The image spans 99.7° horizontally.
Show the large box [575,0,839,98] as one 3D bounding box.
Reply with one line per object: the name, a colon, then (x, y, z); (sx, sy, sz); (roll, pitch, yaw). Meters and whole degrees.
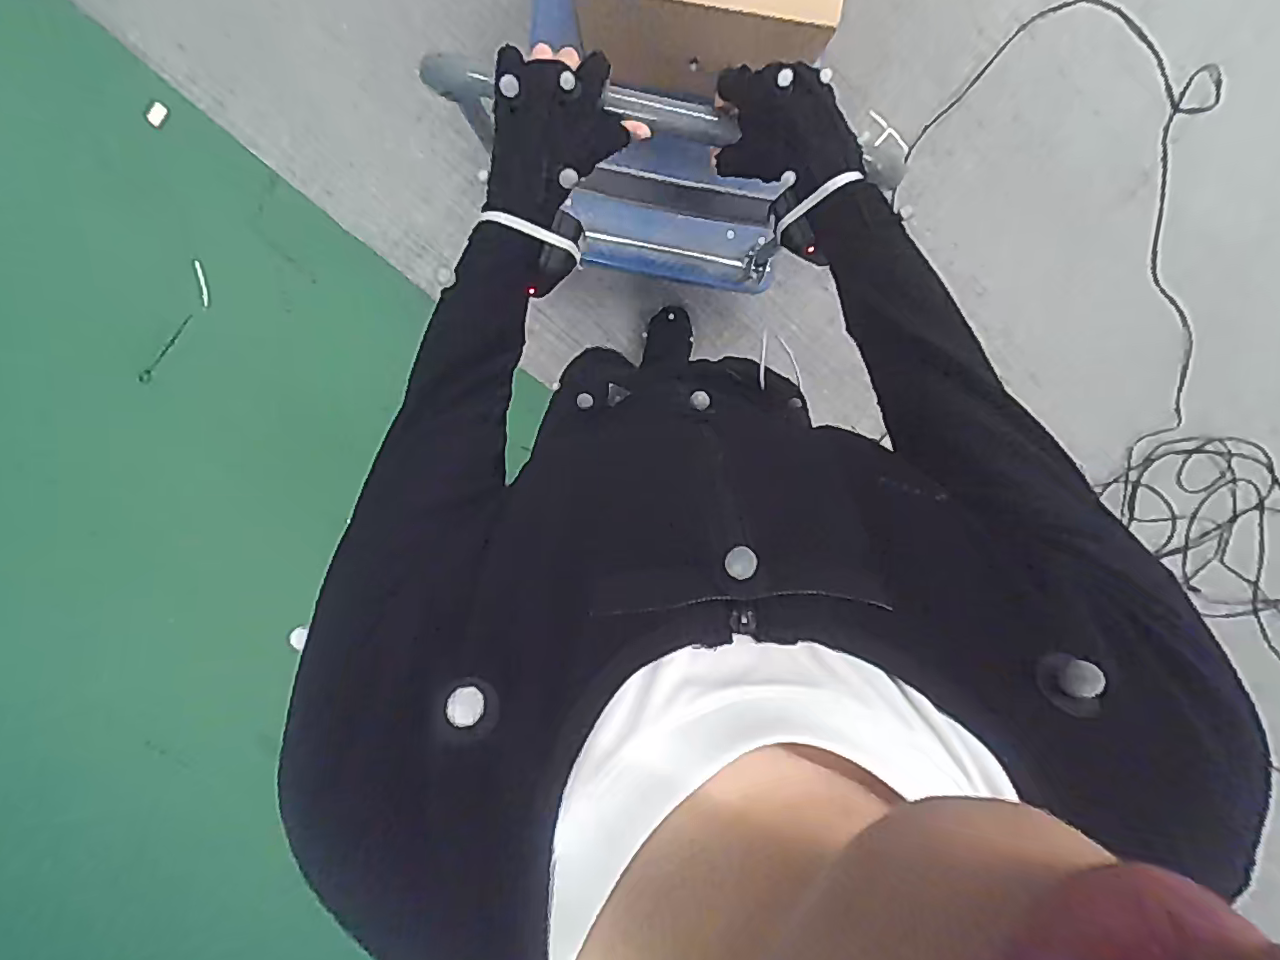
large box: (0.114, -0.894, 0.906); (0.408, 0.320, 0.320); (7, 105, -2)
